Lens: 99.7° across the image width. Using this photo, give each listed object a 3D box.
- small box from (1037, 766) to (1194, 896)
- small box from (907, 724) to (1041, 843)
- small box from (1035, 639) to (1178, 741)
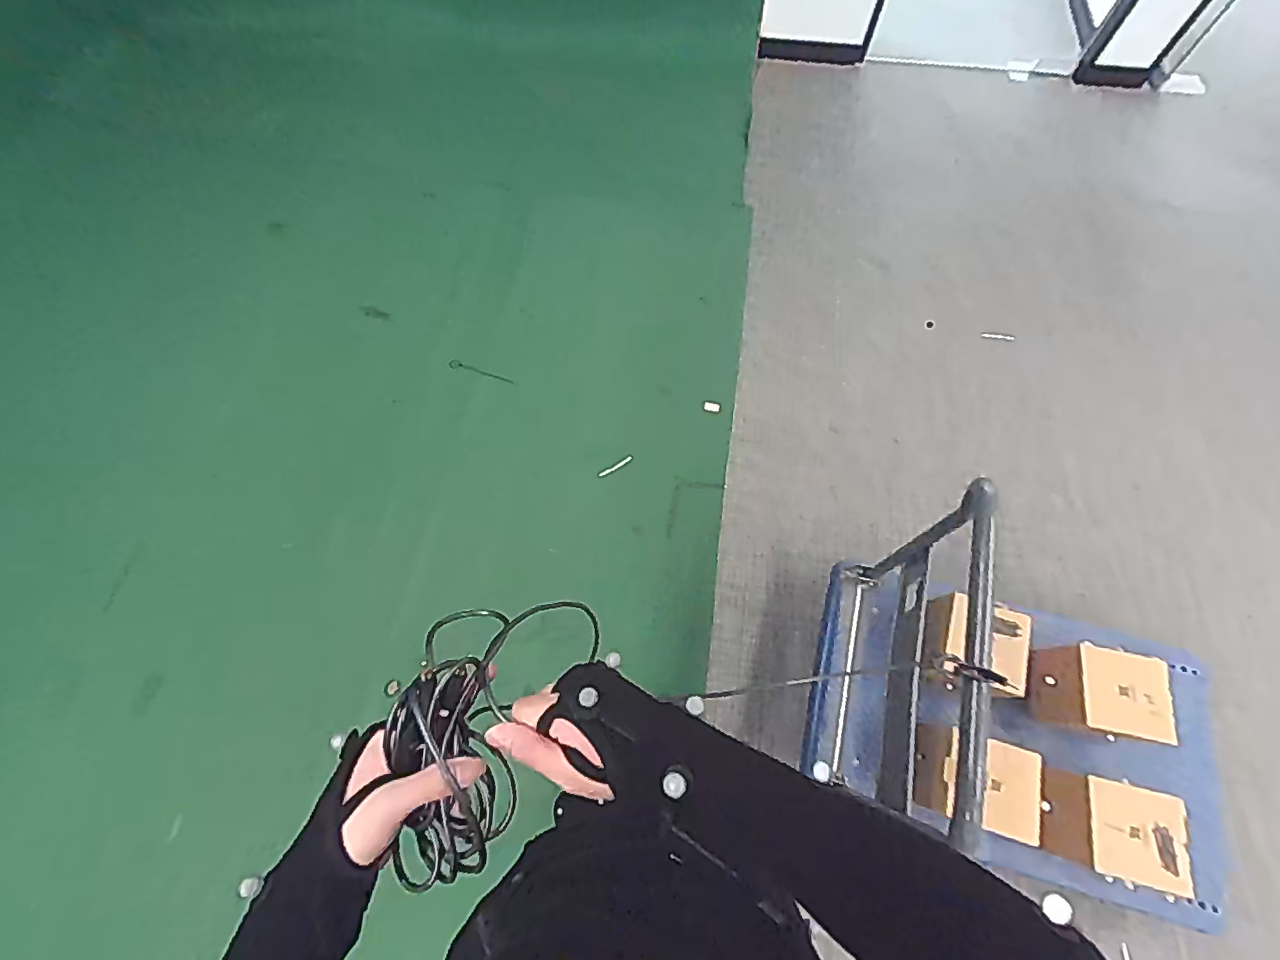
[{"bbox_3d":[0.937,0.690,1.086,0.179,0.176,0.168,13,68,7],"label":"small box"},{"bbox_3d":[0.686,0.615,1.122,0.179,0.176,0.168,15,69,8],"label":"small box"},{"bbox_3d":[0.999,0.457,1.180,0.179,0.176,0.168,11,69,6],"label":"small box"}]
